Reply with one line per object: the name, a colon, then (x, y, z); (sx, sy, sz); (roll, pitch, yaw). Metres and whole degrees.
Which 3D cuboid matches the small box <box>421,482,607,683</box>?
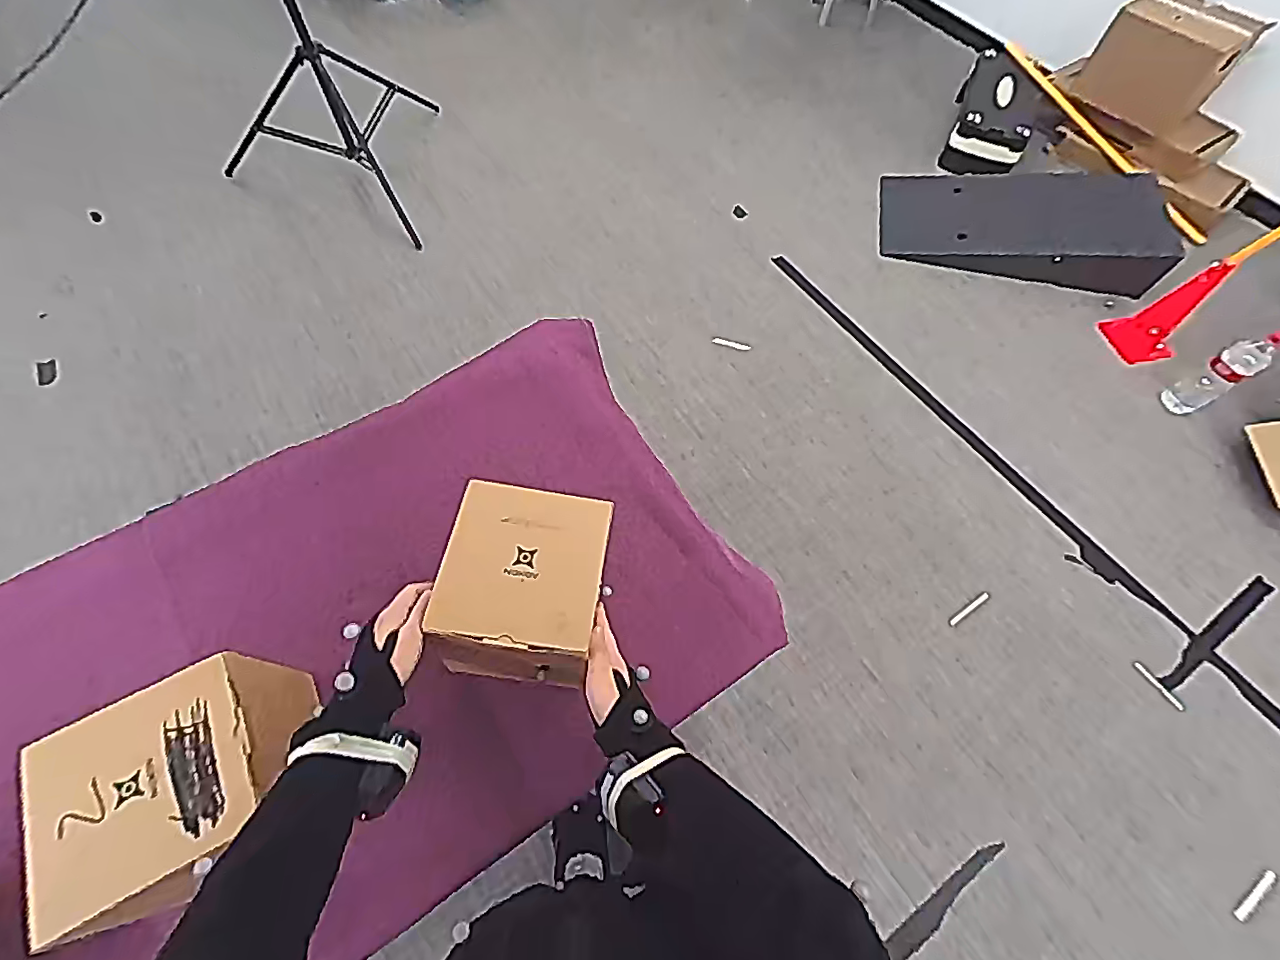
small box: (-0.133, 0.127, 0.635); (0.168, 0.176, 0.179); (8, 56, -3)
